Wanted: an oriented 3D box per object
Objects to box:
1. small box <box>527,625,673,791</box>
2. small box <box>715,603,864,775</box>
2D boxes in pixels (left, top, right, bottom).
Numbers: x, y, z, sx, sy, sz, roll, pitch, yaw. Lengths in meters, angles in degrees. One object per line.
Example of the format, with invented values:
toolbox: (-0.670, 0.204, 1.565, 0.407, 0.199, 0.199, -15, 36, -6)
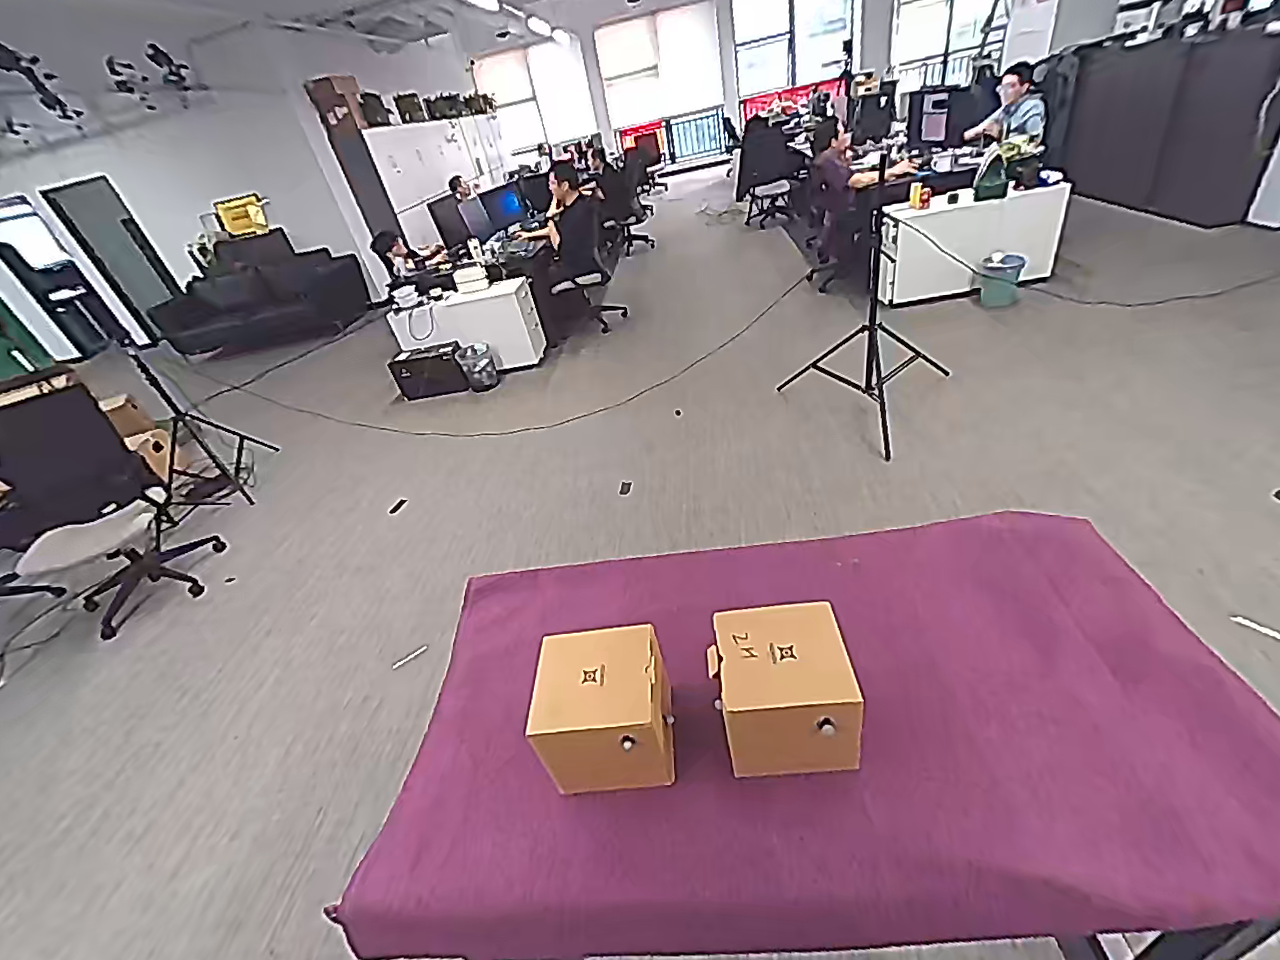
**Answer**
small box: (-0.051, 0.348, 0.820, 0.179, 0.176, 0.168, -9, 34, 6)
small box: (0.210, 0.305, 0.789, 0.179, 0.176, 0.168, -9, 34, 8)
